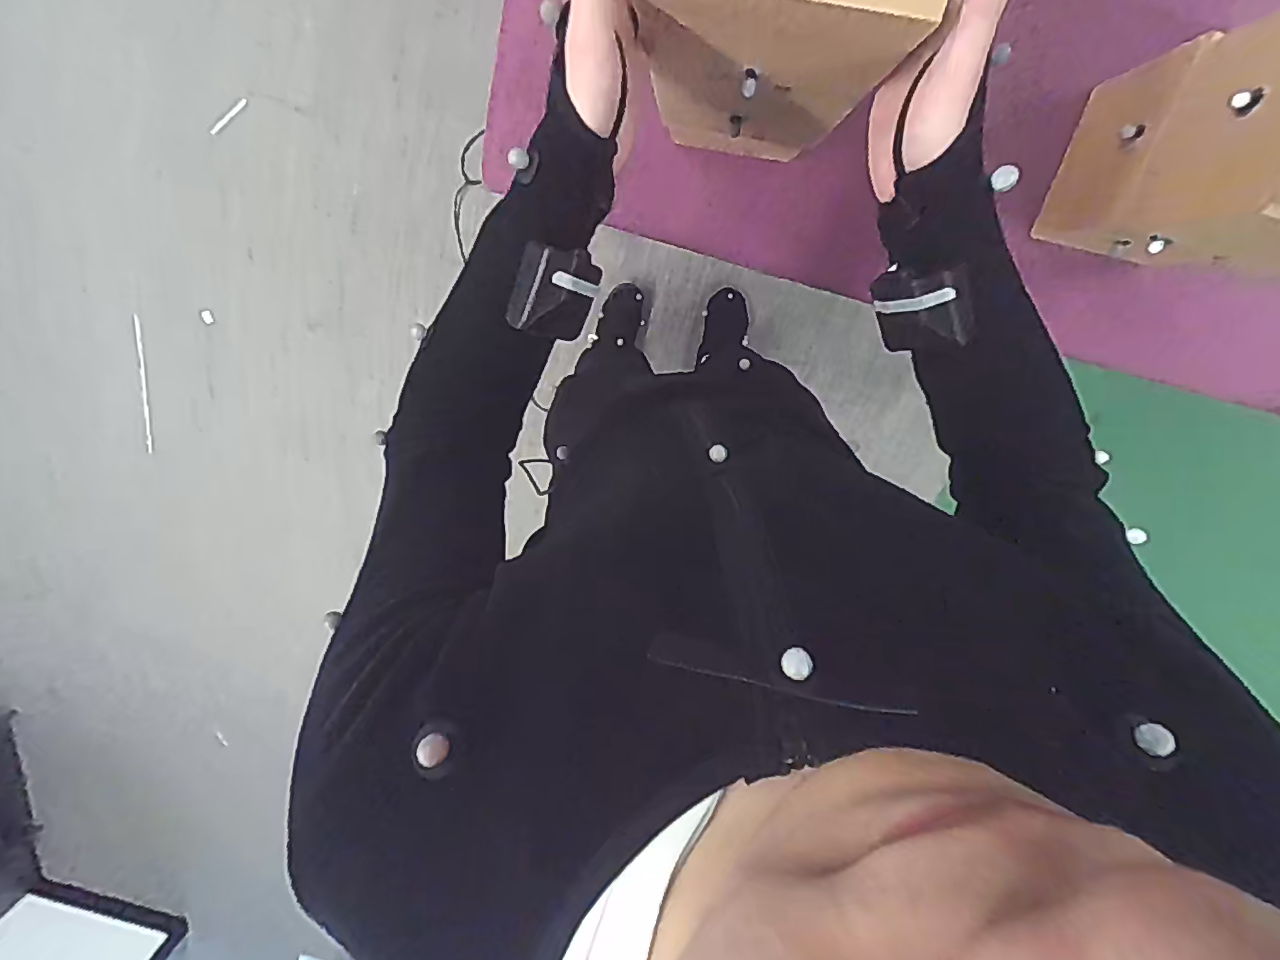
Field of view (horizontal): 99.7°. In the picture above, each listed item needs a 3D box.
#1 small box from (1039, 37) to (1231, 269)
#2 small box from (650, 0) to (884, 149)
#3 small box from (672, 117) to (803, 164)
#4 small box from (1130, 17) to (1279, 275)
[{"bbox_3d":[0.607,-0.349,0.615,0.168,0.176,0.179,14,110,1],"label":"small box"},{"bbox_3d":[0.110,-0.409,0.466,0.168,0.176,0.179,11,111,1],"label":"small box"},{"bbox_3d":[0.128,-0.484,0.613,0.168,0.176,0.179,11,111,2],"label":"small box"},{"bbox_3d":[0.590,-0.285,0.464,0.168,0.176,0.179,16,110,0],"label":"small box"}]
